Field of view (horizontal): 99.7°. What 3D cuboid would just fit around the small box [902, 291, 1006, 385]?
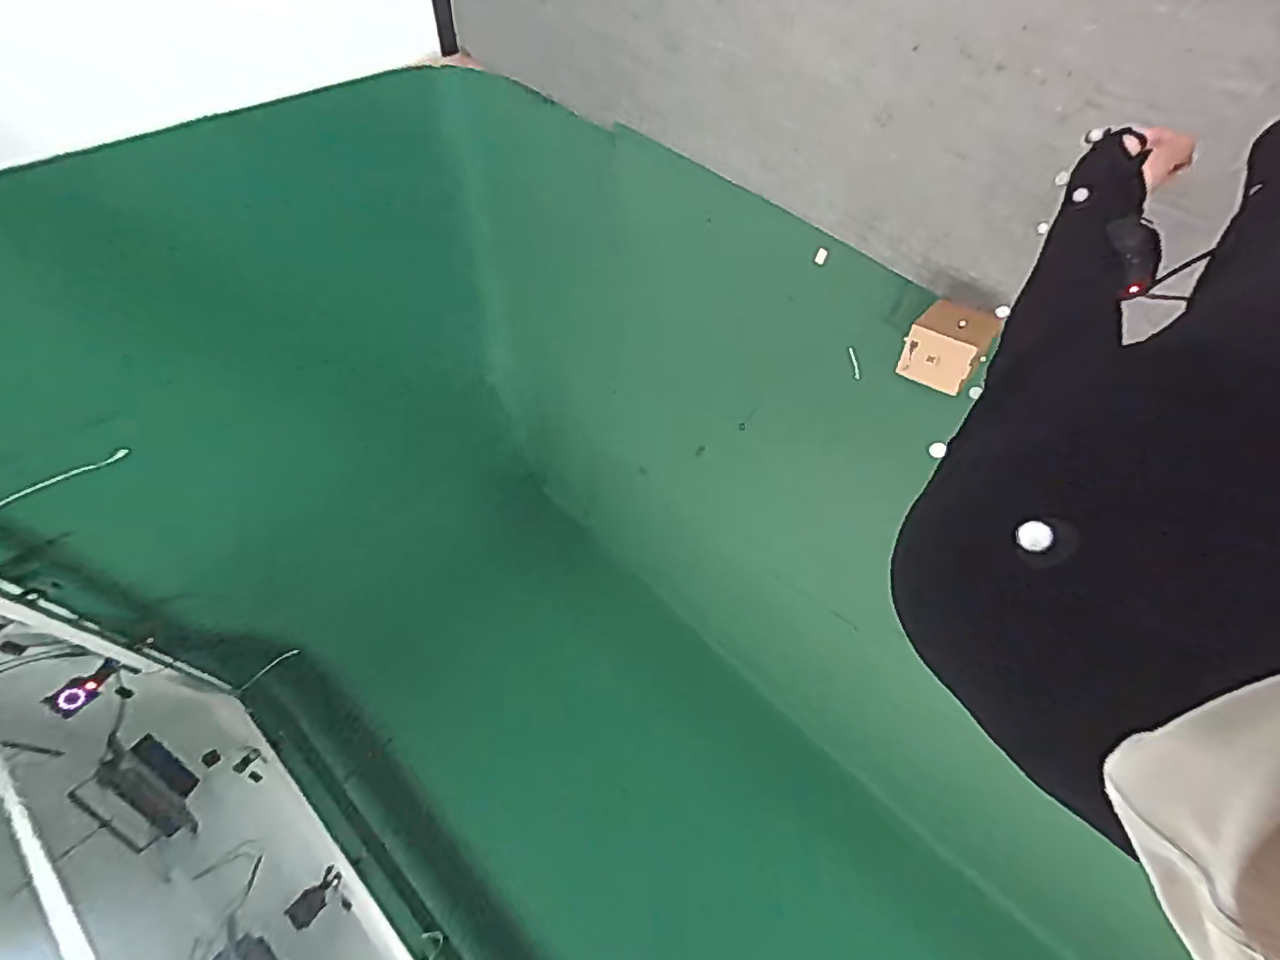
[{"bbox_3d":[0.871,-0.400,1.501,0.179,0.176,0.168,33,149,28],"label":"small box"}]
